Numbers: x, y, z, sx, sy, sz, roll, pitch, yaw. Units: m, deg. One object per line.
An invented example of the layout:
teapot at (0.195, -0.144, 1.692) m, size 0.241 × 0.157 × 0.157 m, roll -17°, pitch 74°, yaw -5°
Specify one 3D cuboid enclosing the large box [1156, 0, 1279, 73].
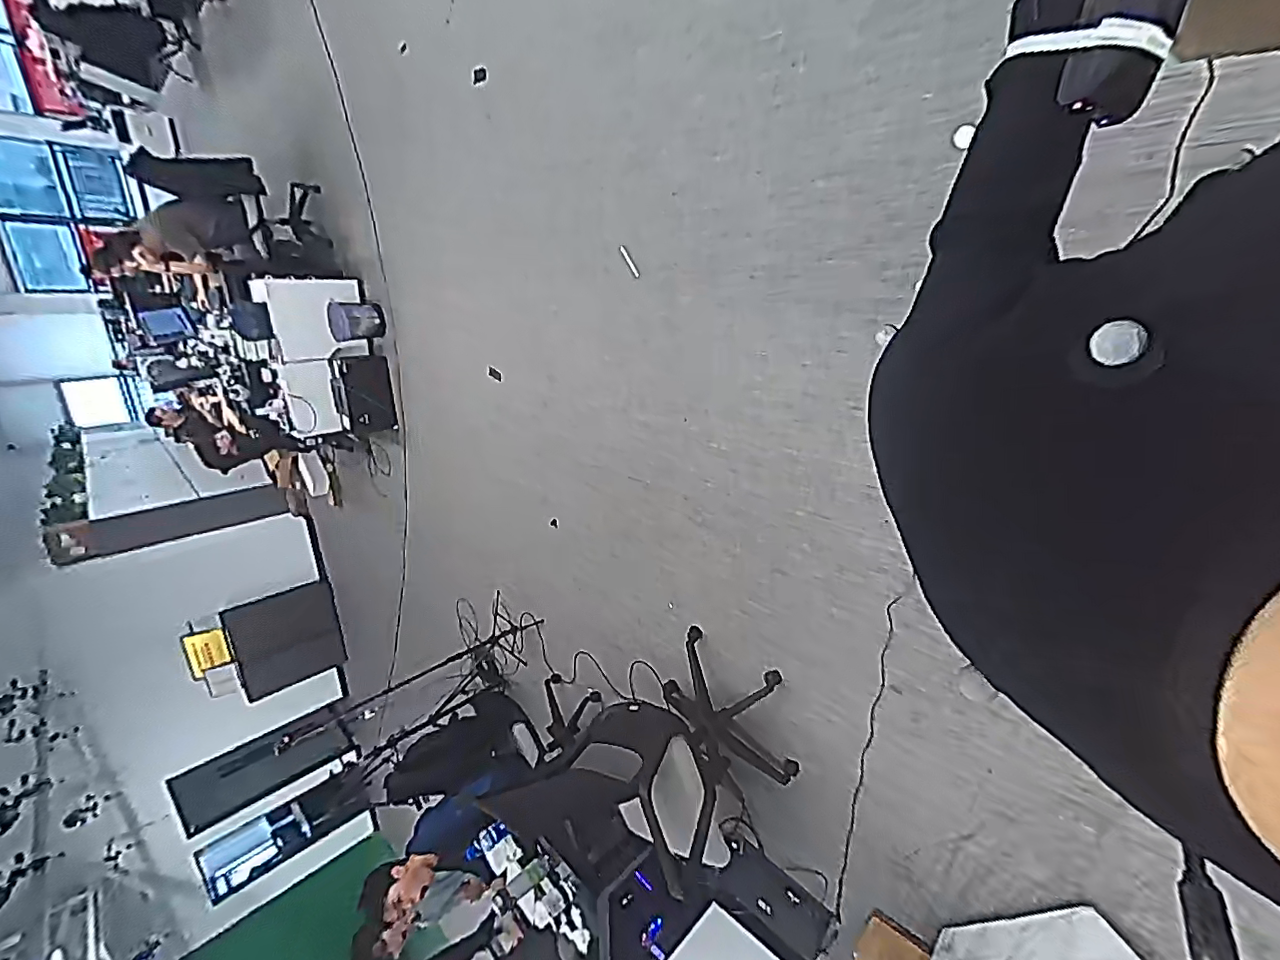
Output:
large box at (0.564, -0.434, 0.253) m, size 0.408 × 0.320 × 0.320 m, roll 22°, pitch 125°, yaw 38°
